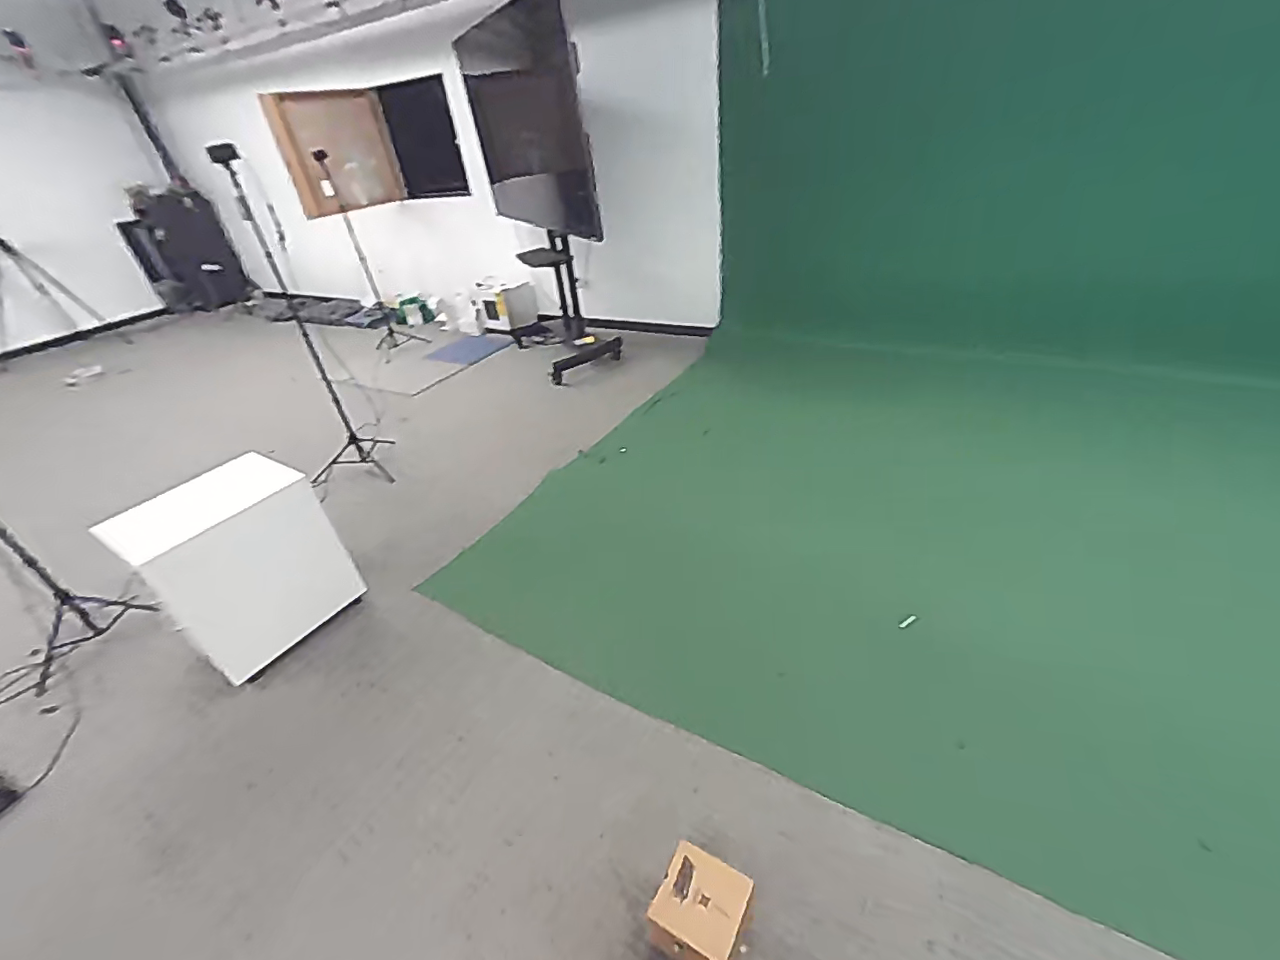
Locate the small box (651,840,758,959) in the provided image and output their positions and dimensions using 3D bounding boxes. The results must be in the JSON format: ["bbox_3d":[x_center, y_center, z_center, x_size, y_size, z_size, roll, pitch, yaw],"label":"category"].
[{"bbox_3d":[0.142,0.932,1.161,0.179,0.176,0.168,14,39,27],"label":"small box"}]
